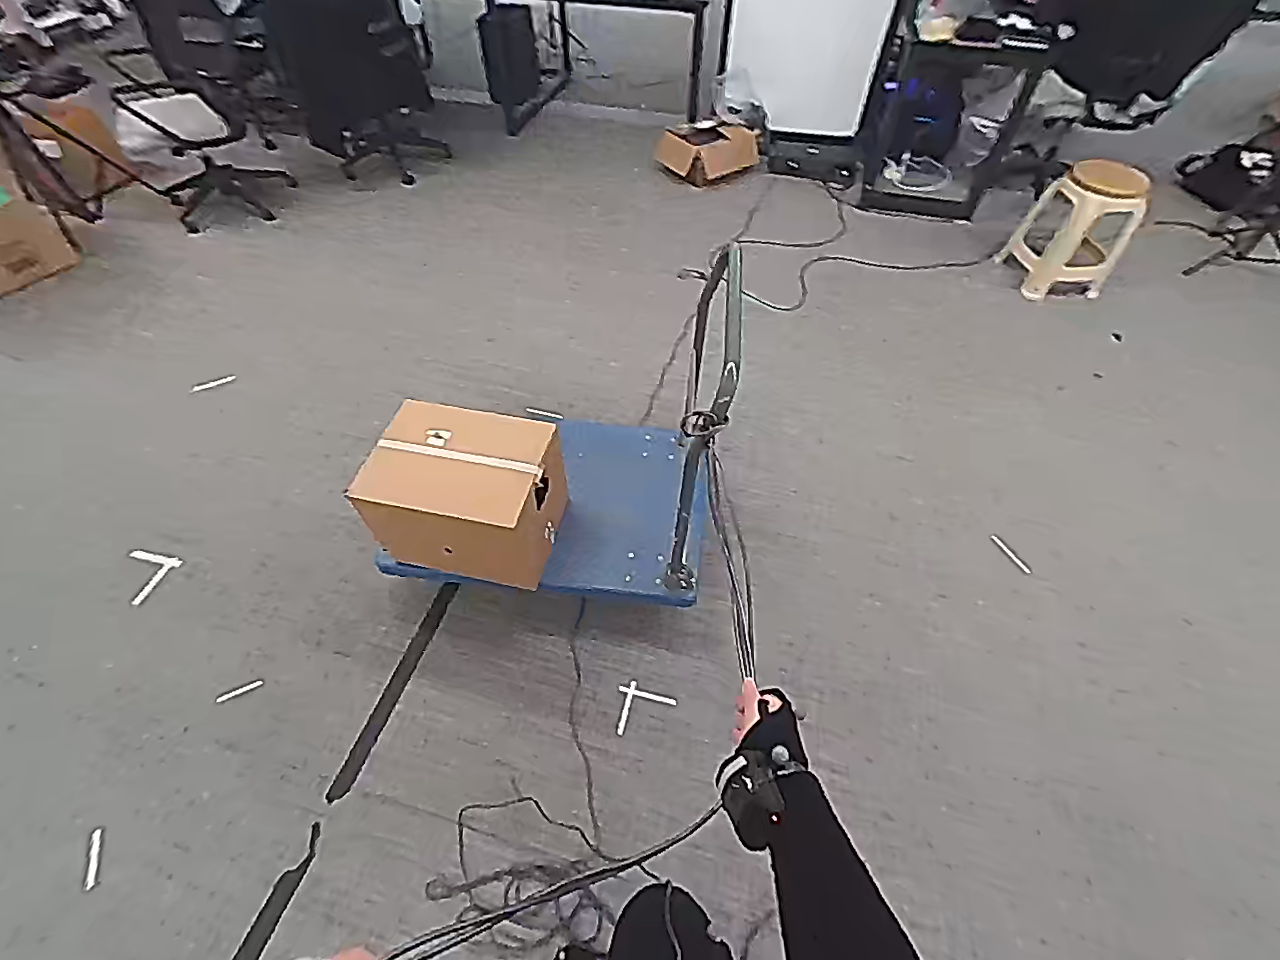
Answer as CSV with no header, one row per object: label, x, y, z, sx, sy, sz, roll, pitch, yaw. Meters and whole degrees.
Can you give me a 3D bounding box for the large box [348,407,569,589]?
large box,-0.425,0.050,1.381,0.408,0.320,0.320,9,53,7
